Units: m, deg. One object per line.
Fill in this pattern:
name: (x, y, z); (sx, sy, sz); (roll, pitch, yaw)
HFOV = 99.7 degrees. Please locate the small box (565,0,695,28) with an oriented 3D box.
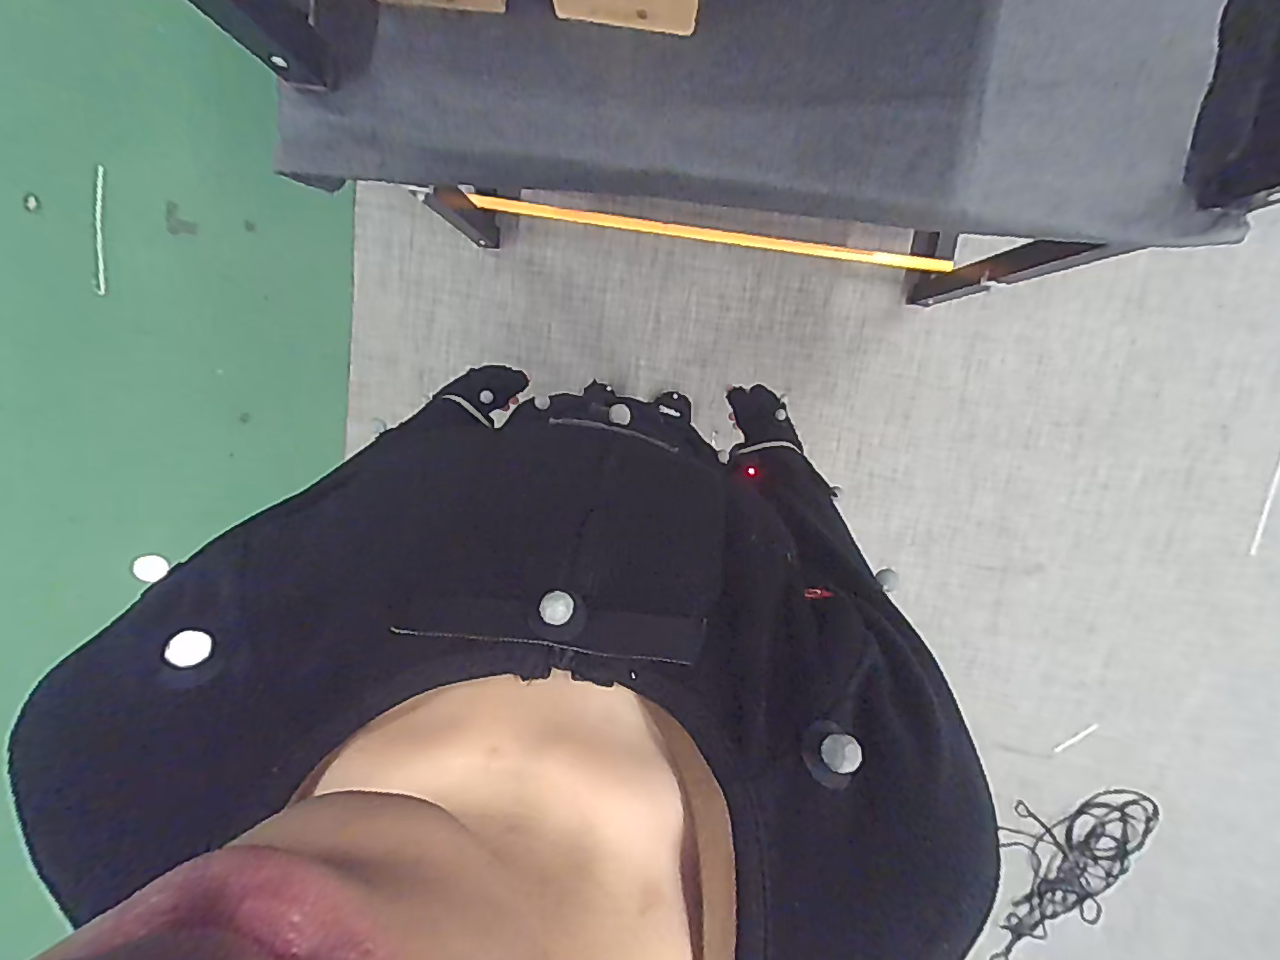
small box: (-0.011, -0.615, 0.552); (0.168, 0.176, 0.179); (7, 99, -1)

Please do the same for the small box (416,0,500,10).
small box: (-0.236, -0.638, 0.548); (0.168, 0.176, 0.179); (5, 100, 0)
